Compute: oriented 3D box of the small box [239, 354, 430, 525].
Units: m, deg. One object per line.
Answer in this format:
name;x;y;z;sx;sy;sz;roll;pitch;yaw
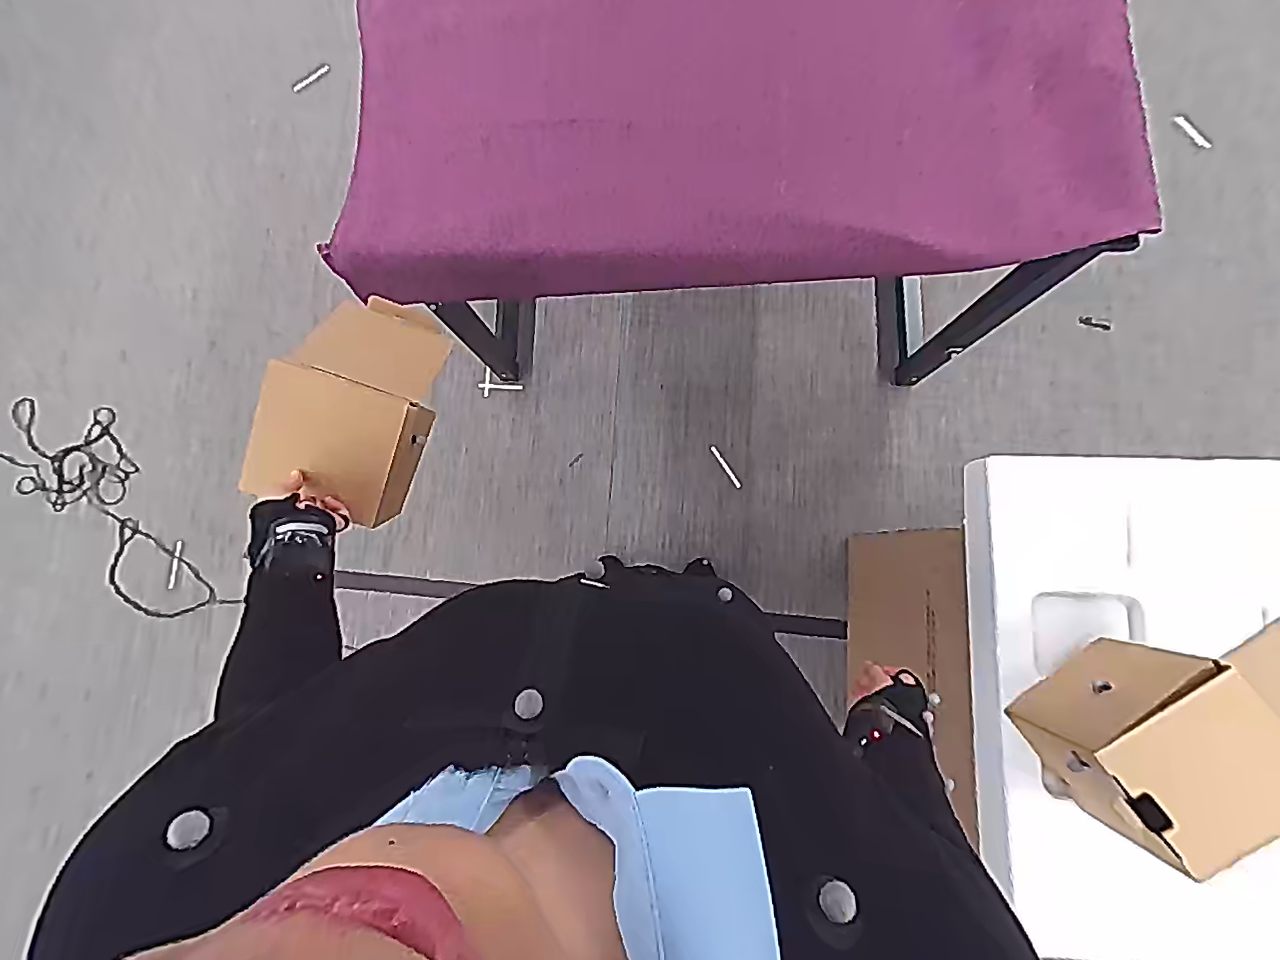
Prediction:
small box;-0.409;-0.054;0.760;0.168;0.176;0.179;20;90;-13
